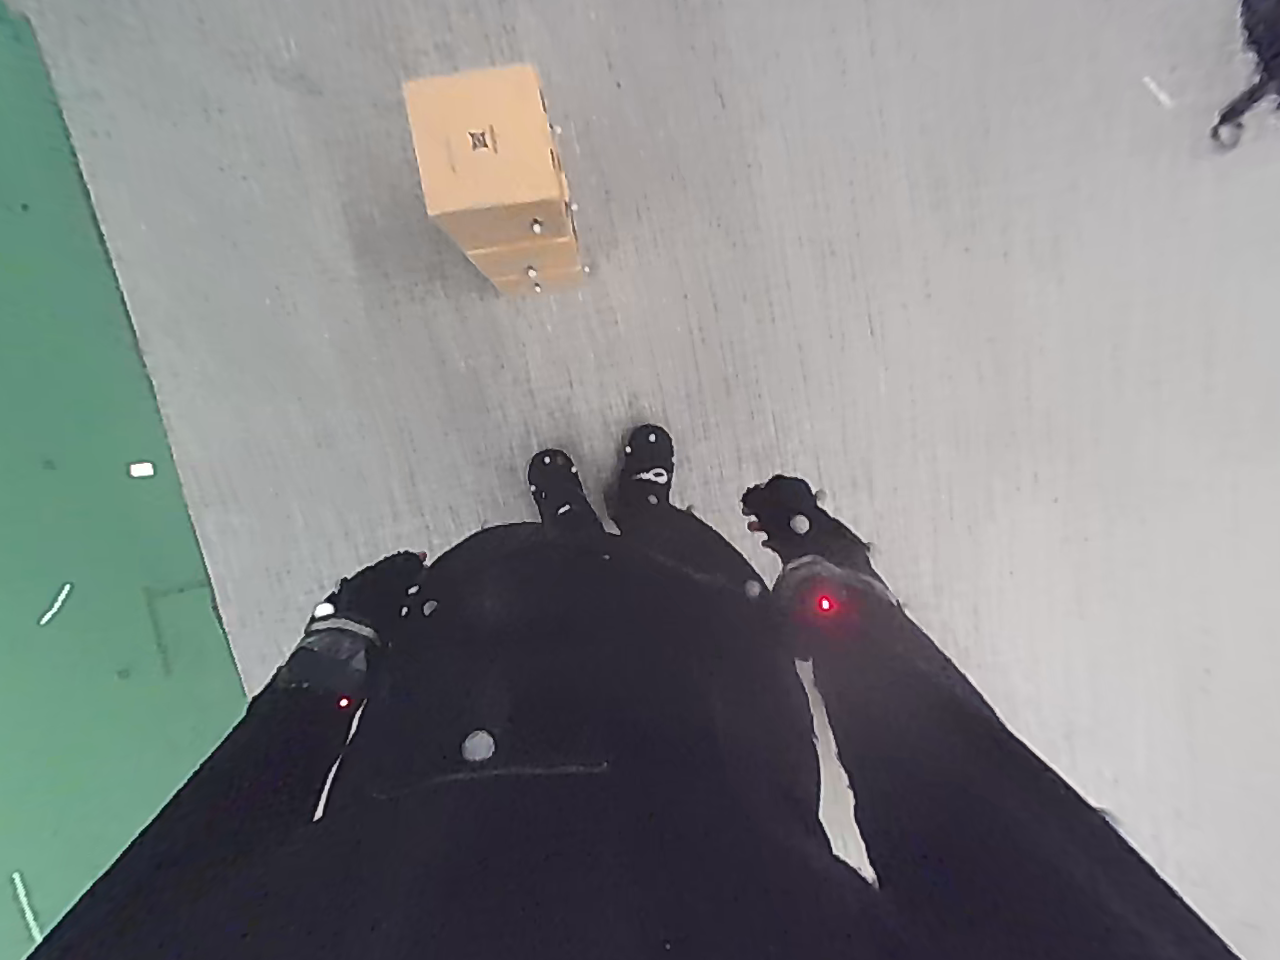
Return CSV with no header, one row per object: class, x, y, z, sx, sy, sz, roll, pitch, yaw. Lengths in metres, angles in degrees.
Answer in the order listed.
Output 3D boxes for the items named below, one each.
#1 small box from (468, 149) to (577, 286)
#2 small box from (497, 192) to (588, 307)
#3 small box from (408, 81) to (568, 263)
small box,-0.206,-0.447,0.943,0.179,0.176,0.168,-8,98,-2
small box,-0.207,-0.463,1.106,0.179,0.176,0.168,-12,98,-2
small box,-0.203,-0.430,0.782,0.179,0.176,0.168,-10,97,0
